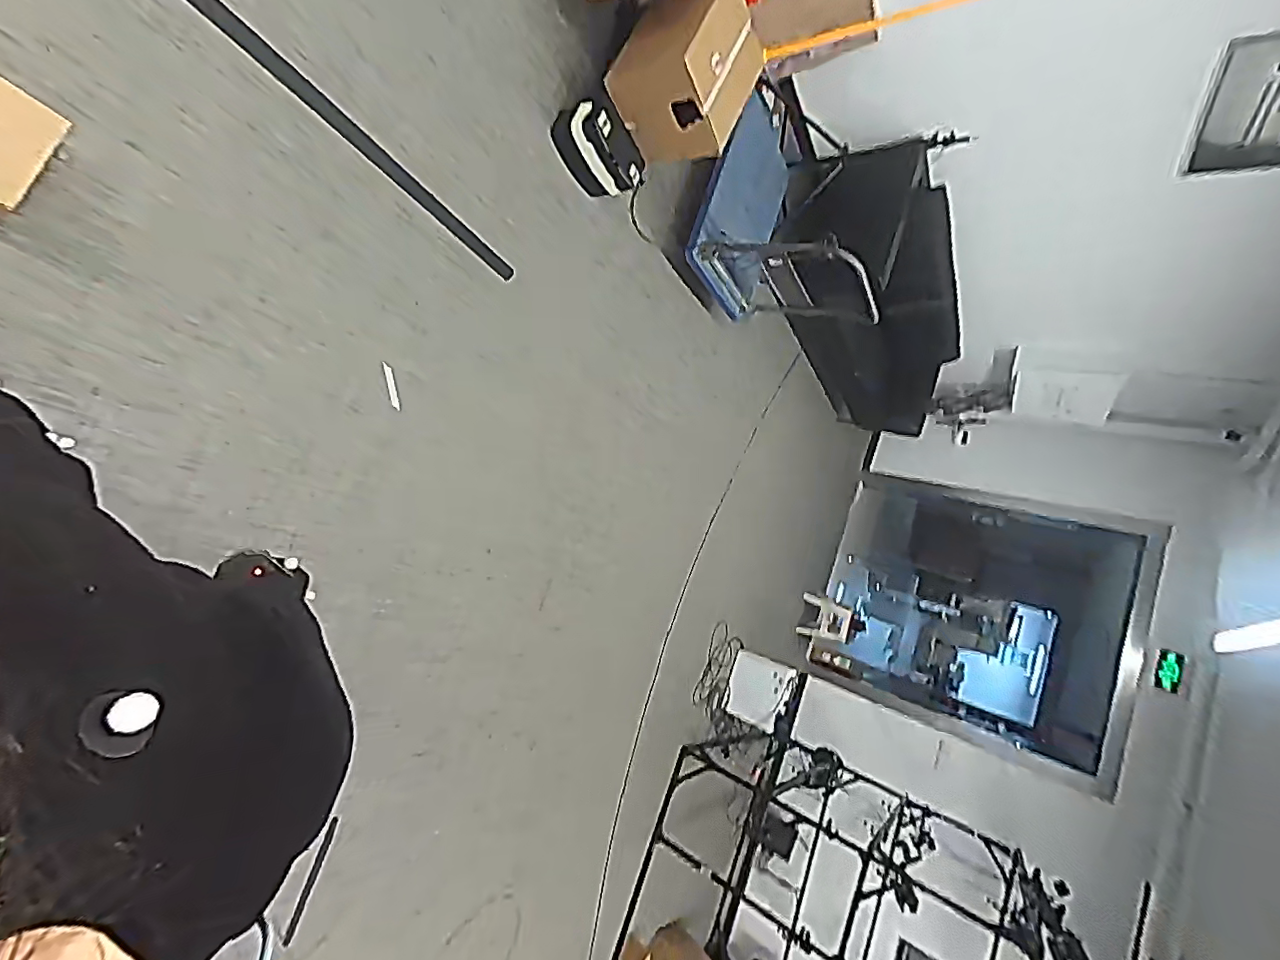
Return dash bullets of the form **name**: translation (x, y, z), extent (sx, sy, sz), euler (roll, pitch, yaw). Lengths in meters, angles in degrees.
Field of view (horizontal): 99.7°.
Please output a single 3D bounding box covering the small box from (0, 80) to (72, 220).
- **small box**: translation (-1.056, -0.537, 0.843), extent (0.168, 0.176, 0.179), euler (36, 72, -53)
